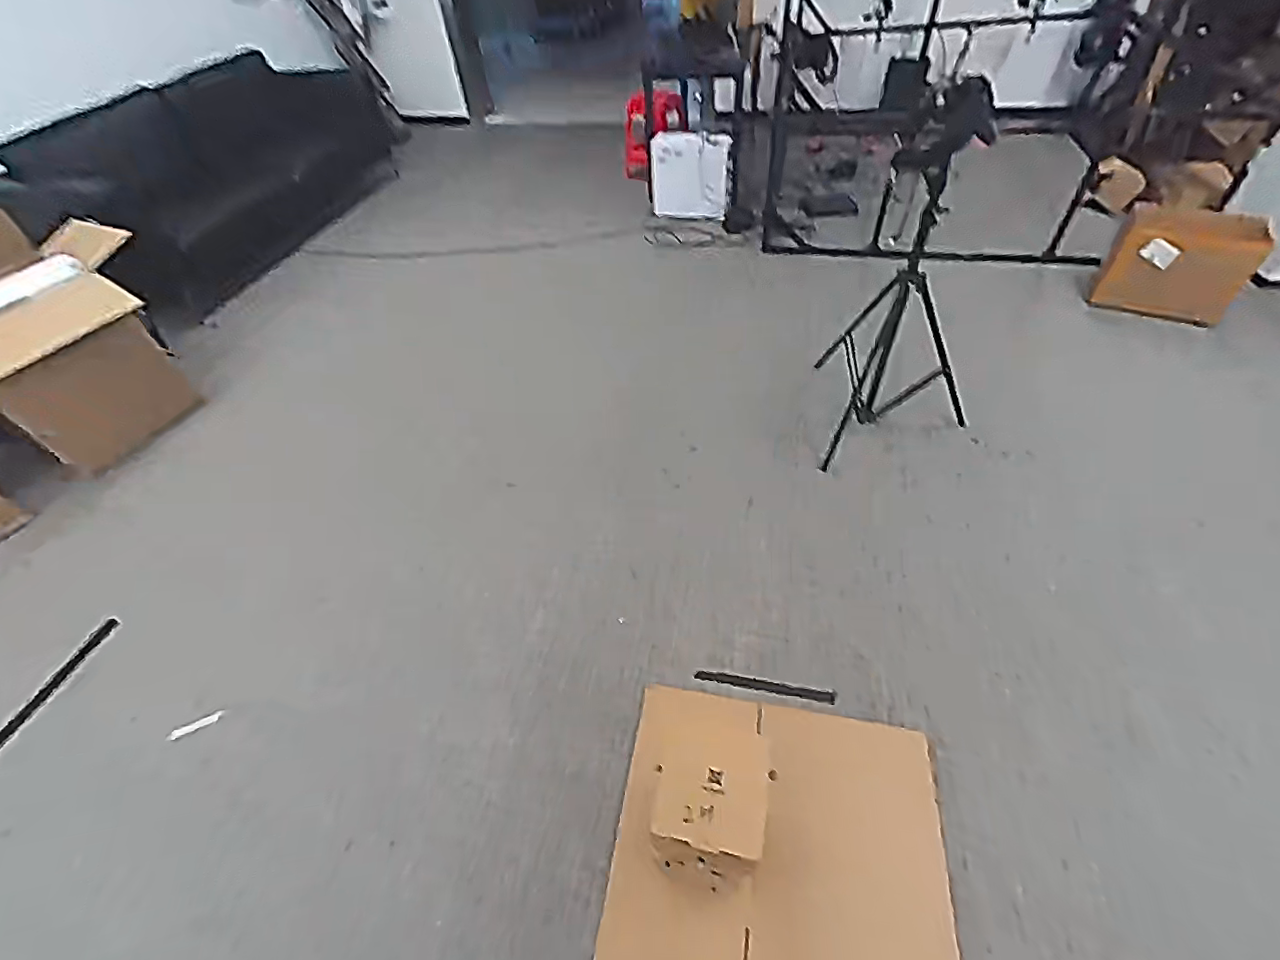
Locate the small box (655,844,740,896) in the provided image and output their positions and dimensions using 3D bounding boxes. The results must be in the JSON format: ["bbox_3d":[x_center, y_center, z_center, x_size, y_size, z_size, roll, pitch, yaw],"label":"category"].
[{"bbox_3d":[0.134,0.744,1.137,0.168,0.176,0.179,10,49,12],"label":"small box"}]

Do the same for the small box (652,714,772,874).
[{"bbox_3d":[0.119,0.521,0.895,0.168,0.176,0.179,8,50,12],"label":"small box"}]
